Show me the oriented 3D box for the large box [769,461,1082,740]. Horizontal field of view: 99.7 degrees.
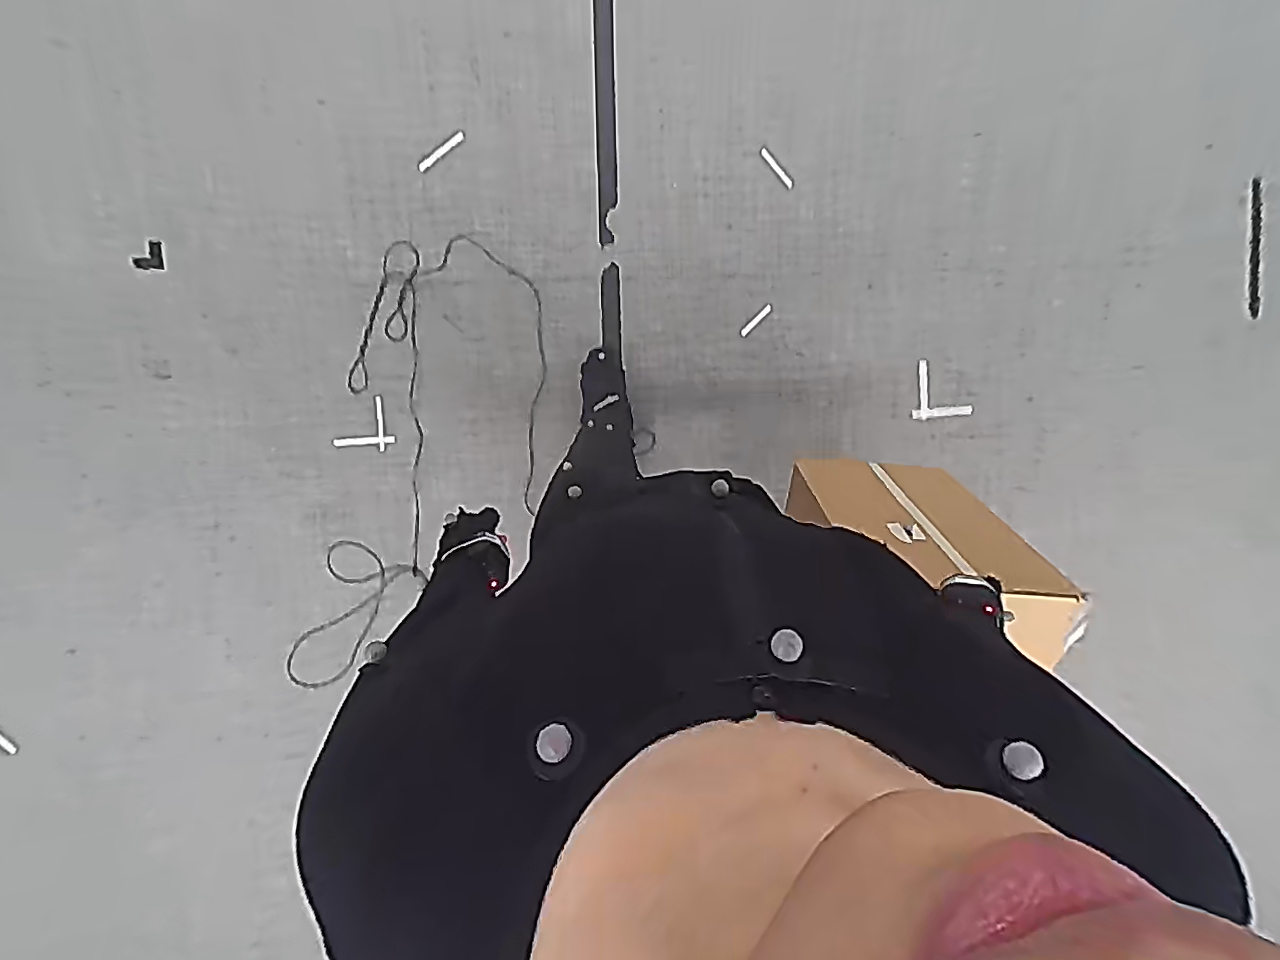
[{"bbox_3d":[0.456,0.198,0.994,0.320,0.408,0.320,3,118,-2],"label":"large box"}]
